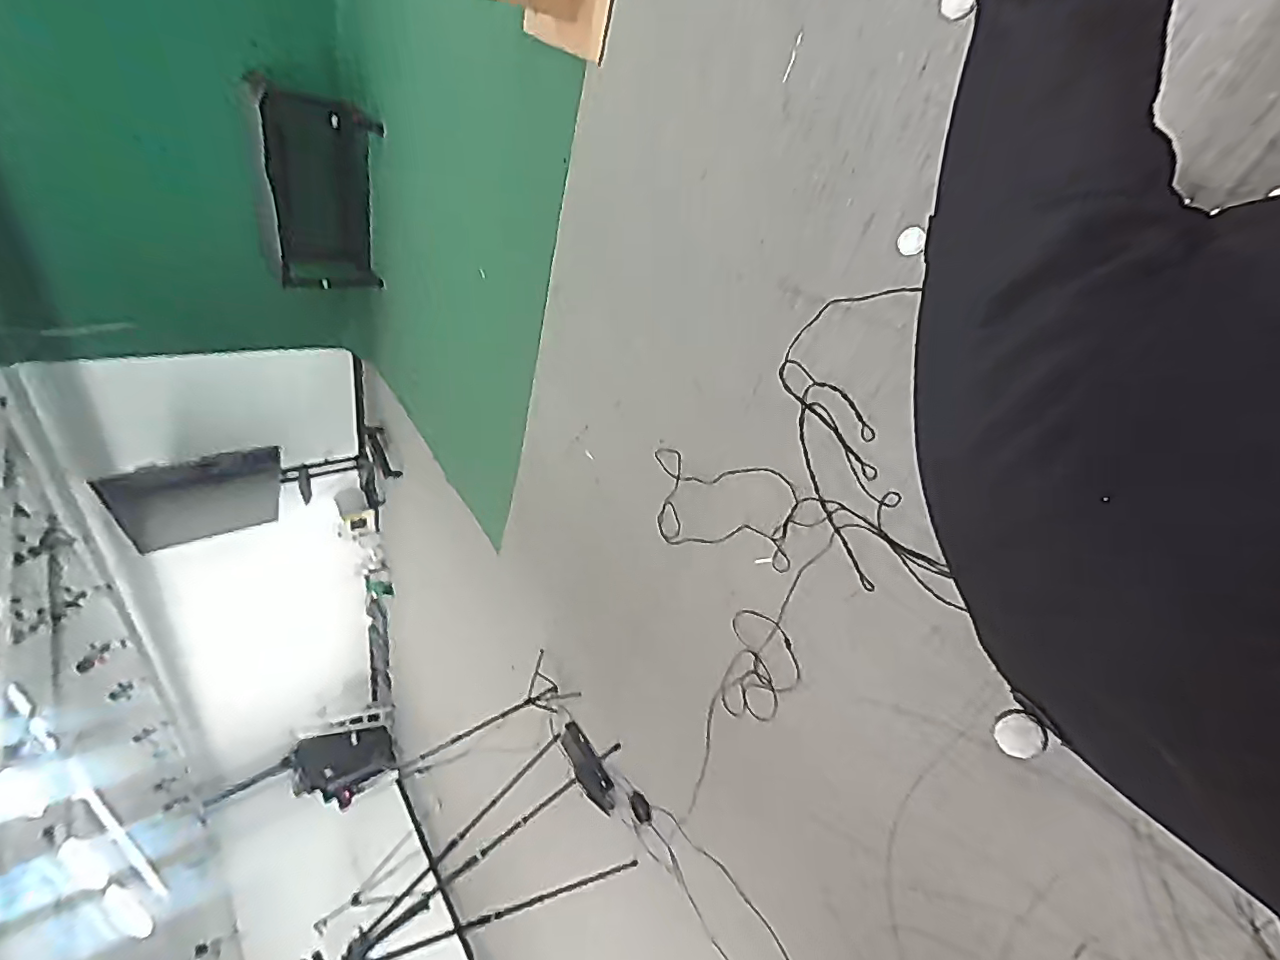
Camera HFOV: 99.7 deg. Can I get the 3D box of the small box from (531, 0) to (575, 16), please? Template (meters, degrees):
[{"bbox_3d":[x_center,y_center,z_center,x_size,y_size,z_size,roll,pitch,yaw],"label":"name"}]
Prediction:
[{"bbox_3d":[-0.355,-1.903,2.057,0.179,0.176,0.168,46,136,31],"label":"small box"}]
